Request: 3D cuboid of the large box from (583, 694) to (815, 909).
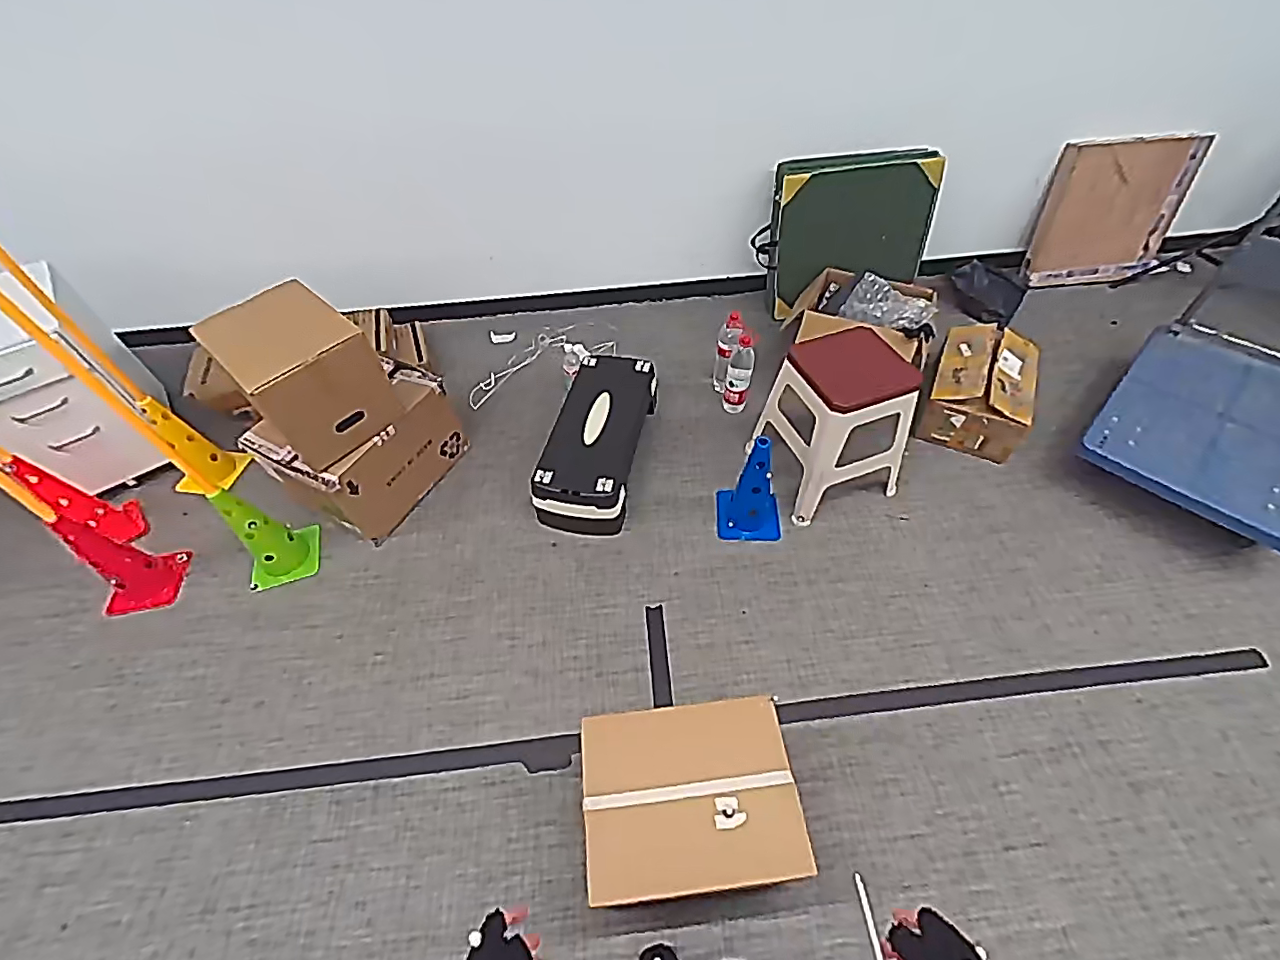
[{"bbox_3d":[0.099,0.688,1.152,0.408,0.320,0.320,-6,52,-4],"label":"large box"}]
